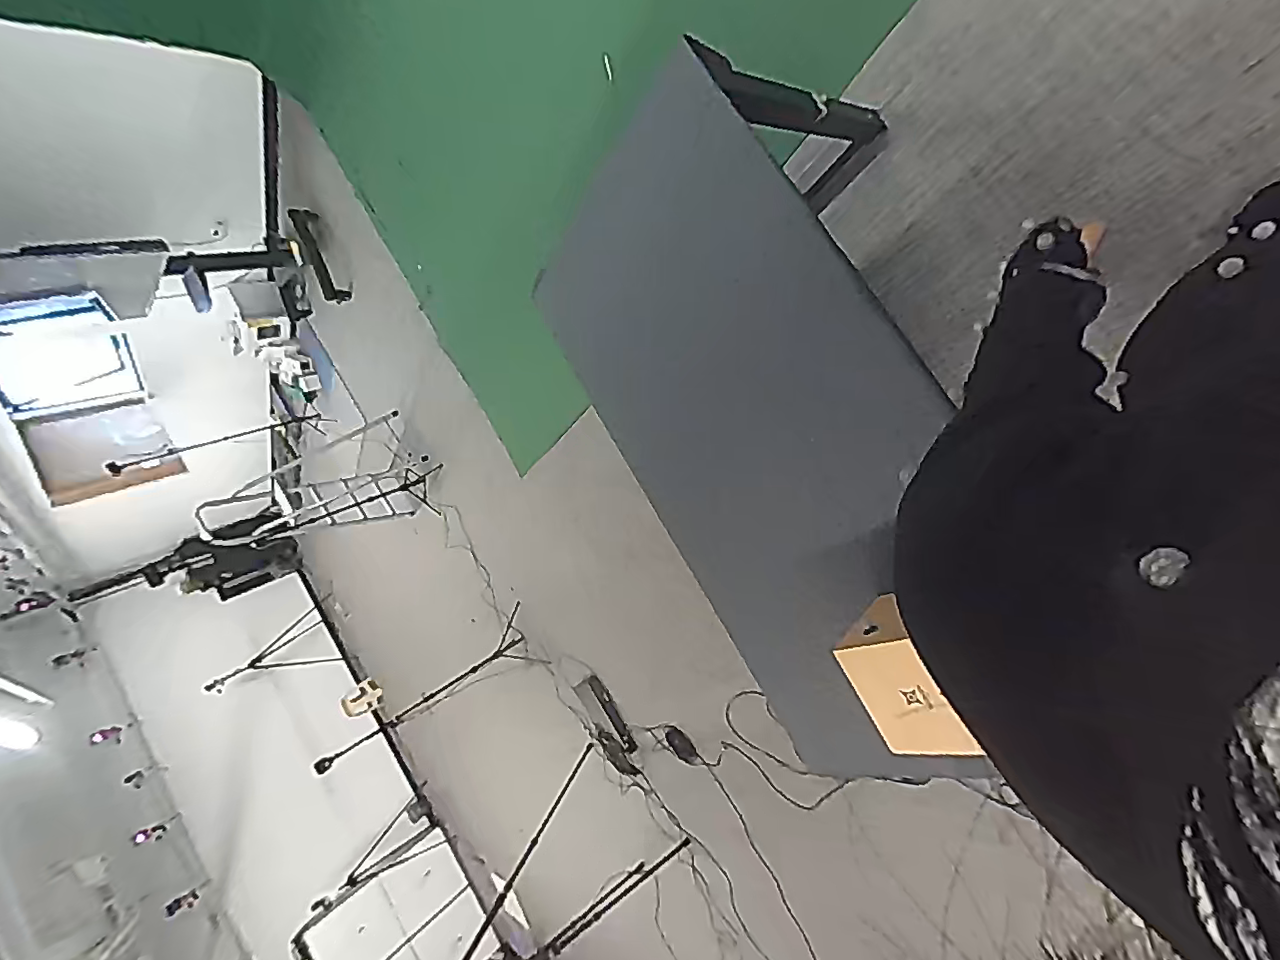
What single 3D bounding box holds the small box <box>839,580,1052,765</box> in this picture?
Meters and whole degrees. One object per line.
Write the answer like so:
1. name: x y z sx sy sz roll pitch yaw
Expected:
1. small box: 0.417 0.260 0.740 0.179 0.176 0.168 -36 83 48
